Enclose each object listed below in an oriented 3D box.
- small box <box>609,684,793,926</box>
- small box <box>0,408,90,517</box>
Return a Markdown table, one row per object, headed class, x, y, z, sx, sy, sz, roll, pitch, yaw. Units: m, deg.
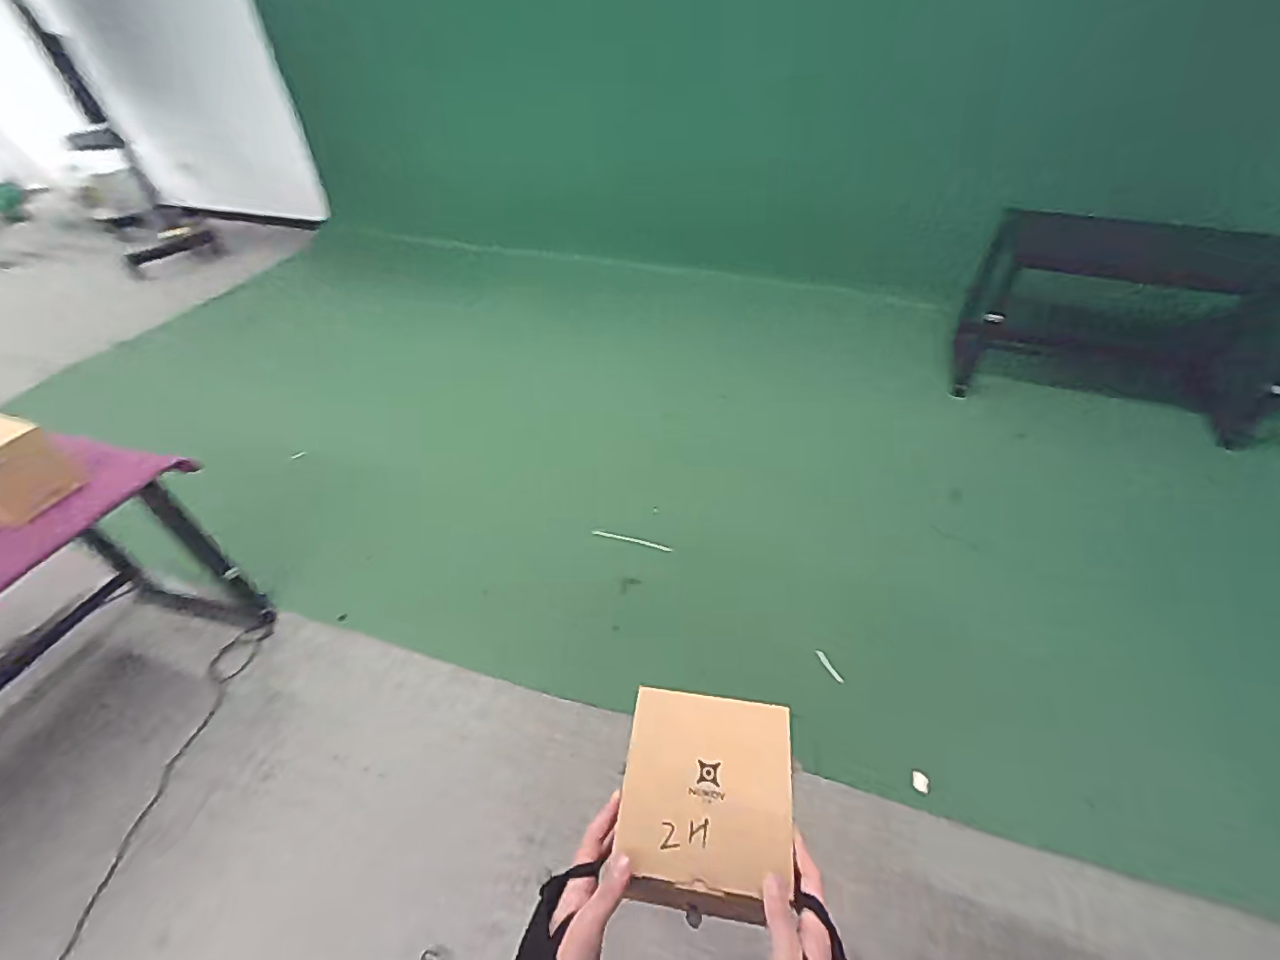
| class | x | y | z | sx | sy | sz | roll | pitch | yaw |
| --- | --- | --- | --- | --- | --- | --- | --- | --- | --- |
| small box | 0.068 | 0.350 | 0.586 | 0.168 | 0.176 | 0.179 | 5 | 46 | 8 |
| small box | -1.415 | -0.039 | 1.204 | 0.179 | 0.176 | 0.168 | 13 | 47 | 16 |
